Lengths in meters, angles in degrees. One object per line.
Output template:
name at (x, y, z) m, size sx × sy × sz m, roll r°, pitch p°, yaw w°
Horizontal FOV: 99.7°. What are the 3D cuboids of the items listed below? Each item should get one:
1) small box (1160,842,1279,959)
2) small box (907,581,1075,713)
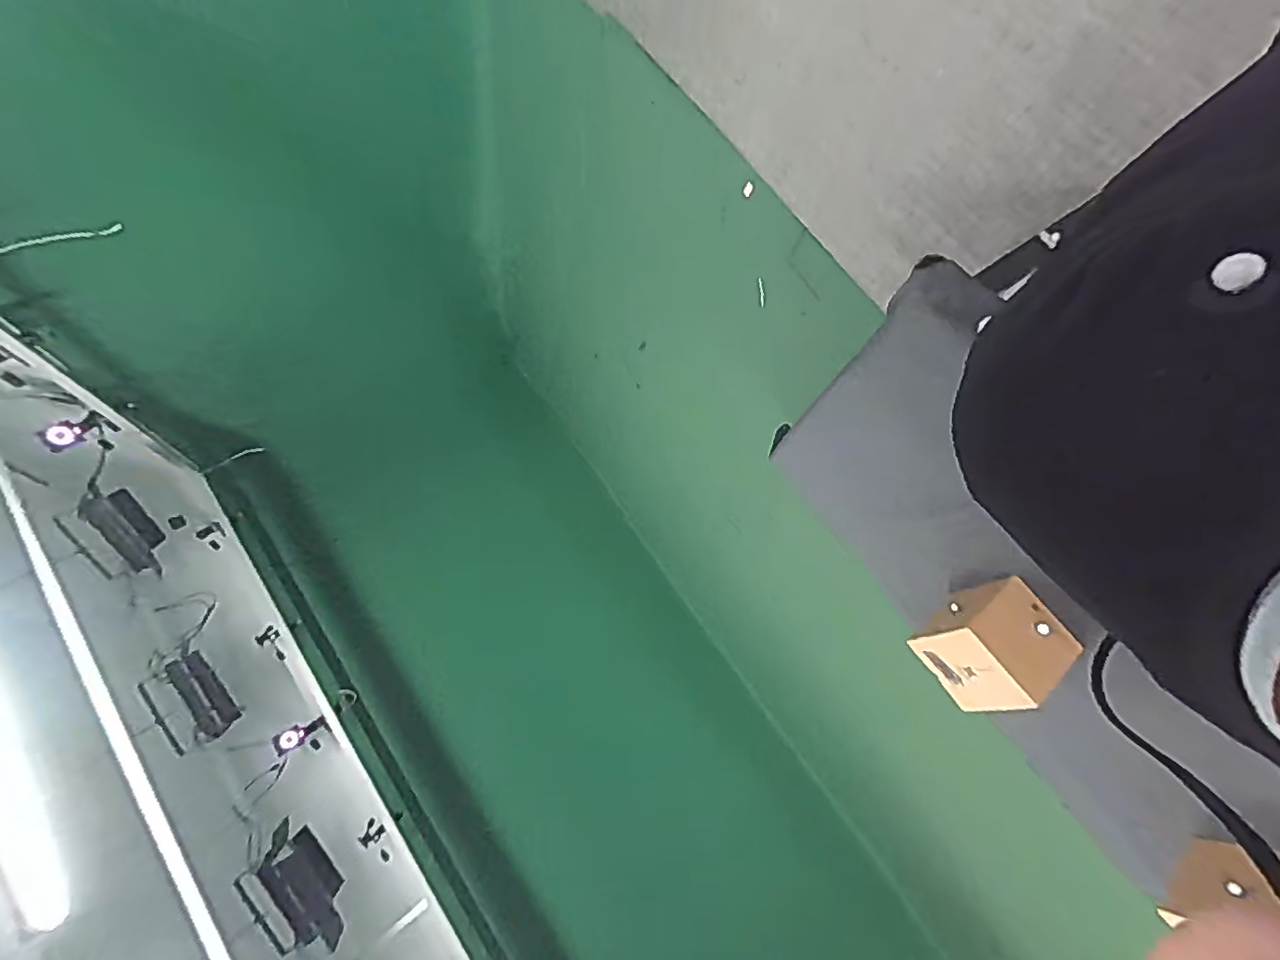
small box at (1.008, 0.716, 0.859) m, size 0.168 × 0.176 × 0.179 m, roll 51°, pitch 155°, yaw 15°
small box at (0.666, 0.319, 1.032) m, size 0.168 × 0.176 × 0.179 m, roll 52°, pitch 155°, yaw 12°
